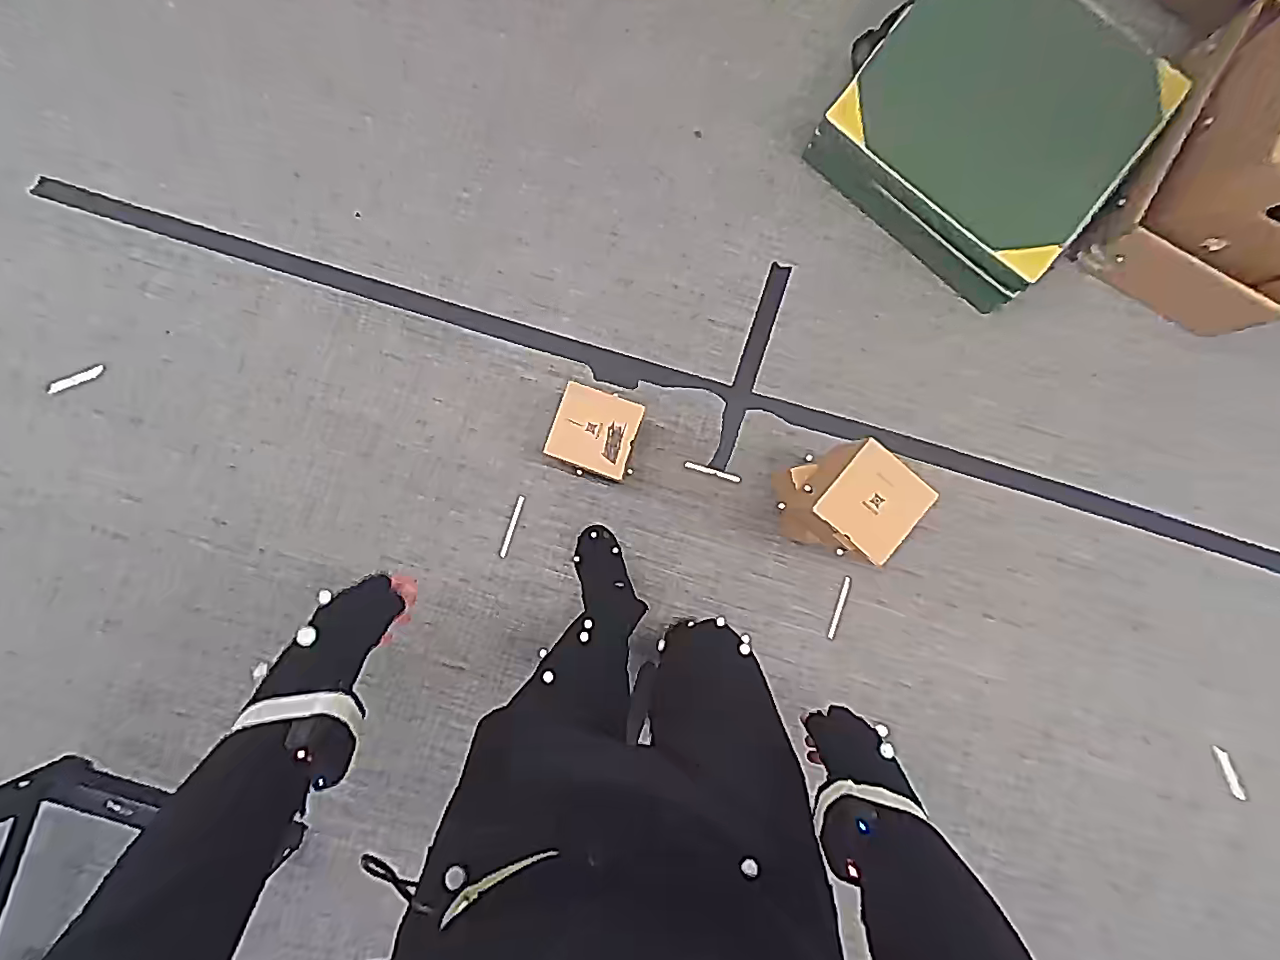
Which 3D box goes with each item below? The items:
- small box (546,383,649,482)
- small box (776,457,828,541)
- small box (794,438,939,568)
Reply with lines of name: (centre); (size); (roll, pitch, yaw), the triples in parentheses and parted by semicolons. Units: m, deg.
small box: (-0.089, -0.099, 1.211); (0.179, 0.176, 0.168); (20, 88, 1)
small box: (0.419, 0.034, 1.214); (0.179, 0.176, 0.168); (-15, 88, -2)
small box: (0.422, 0.043, 1.048); (0.168, 0.176, 0.179); (41, 88, -1)
